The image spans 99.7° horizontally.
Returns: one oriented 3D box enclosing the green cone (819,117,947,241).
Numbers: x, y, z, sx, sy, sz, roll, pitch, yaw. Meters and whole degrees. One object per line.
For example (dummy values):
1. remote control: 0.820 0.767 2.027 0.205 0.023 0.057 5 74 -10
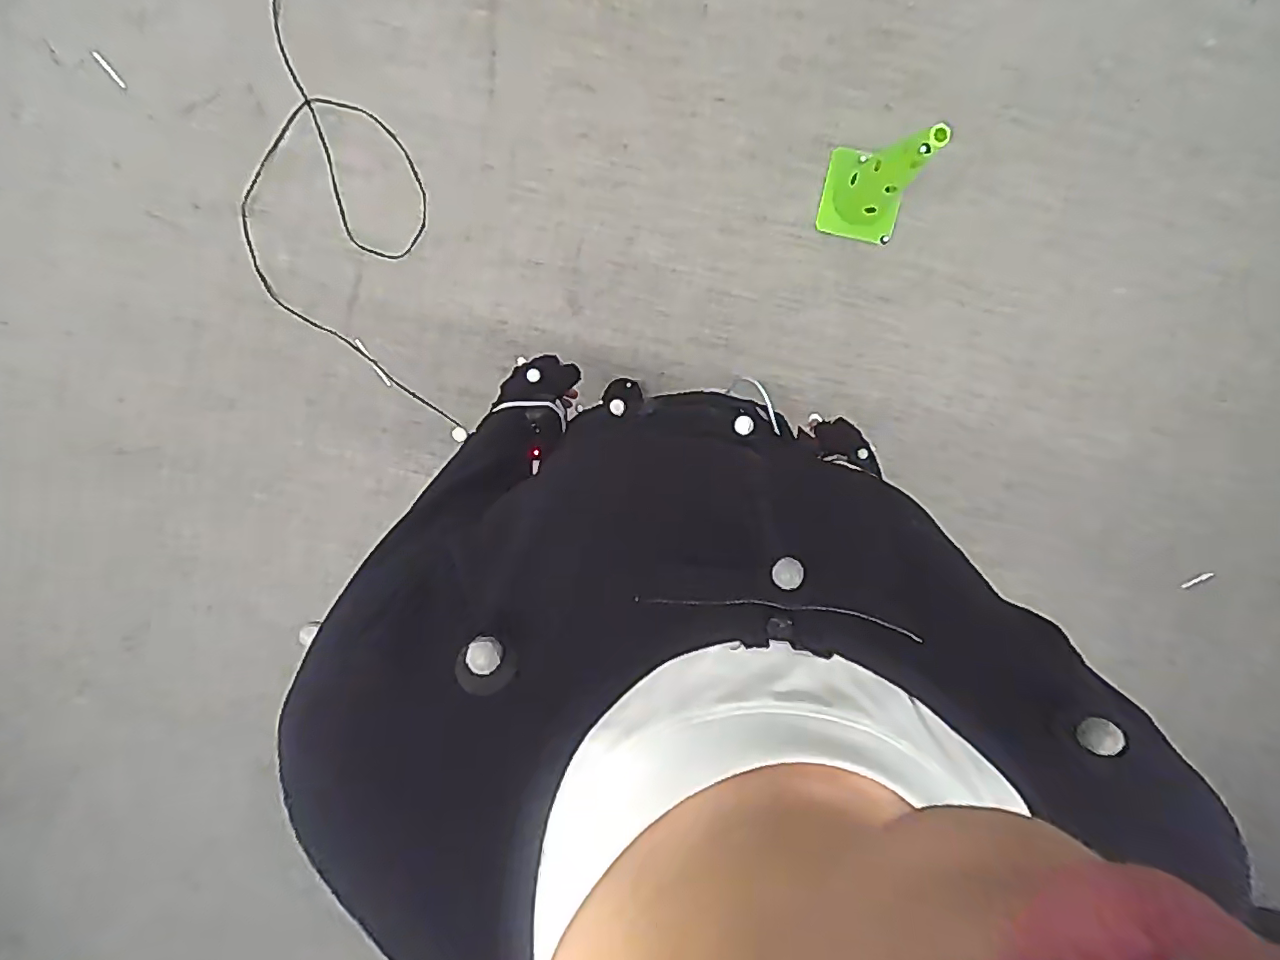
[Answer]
1. green cone: 0.563 -0.693 1.190 0.202 0.368 0.200 11 99 -2
